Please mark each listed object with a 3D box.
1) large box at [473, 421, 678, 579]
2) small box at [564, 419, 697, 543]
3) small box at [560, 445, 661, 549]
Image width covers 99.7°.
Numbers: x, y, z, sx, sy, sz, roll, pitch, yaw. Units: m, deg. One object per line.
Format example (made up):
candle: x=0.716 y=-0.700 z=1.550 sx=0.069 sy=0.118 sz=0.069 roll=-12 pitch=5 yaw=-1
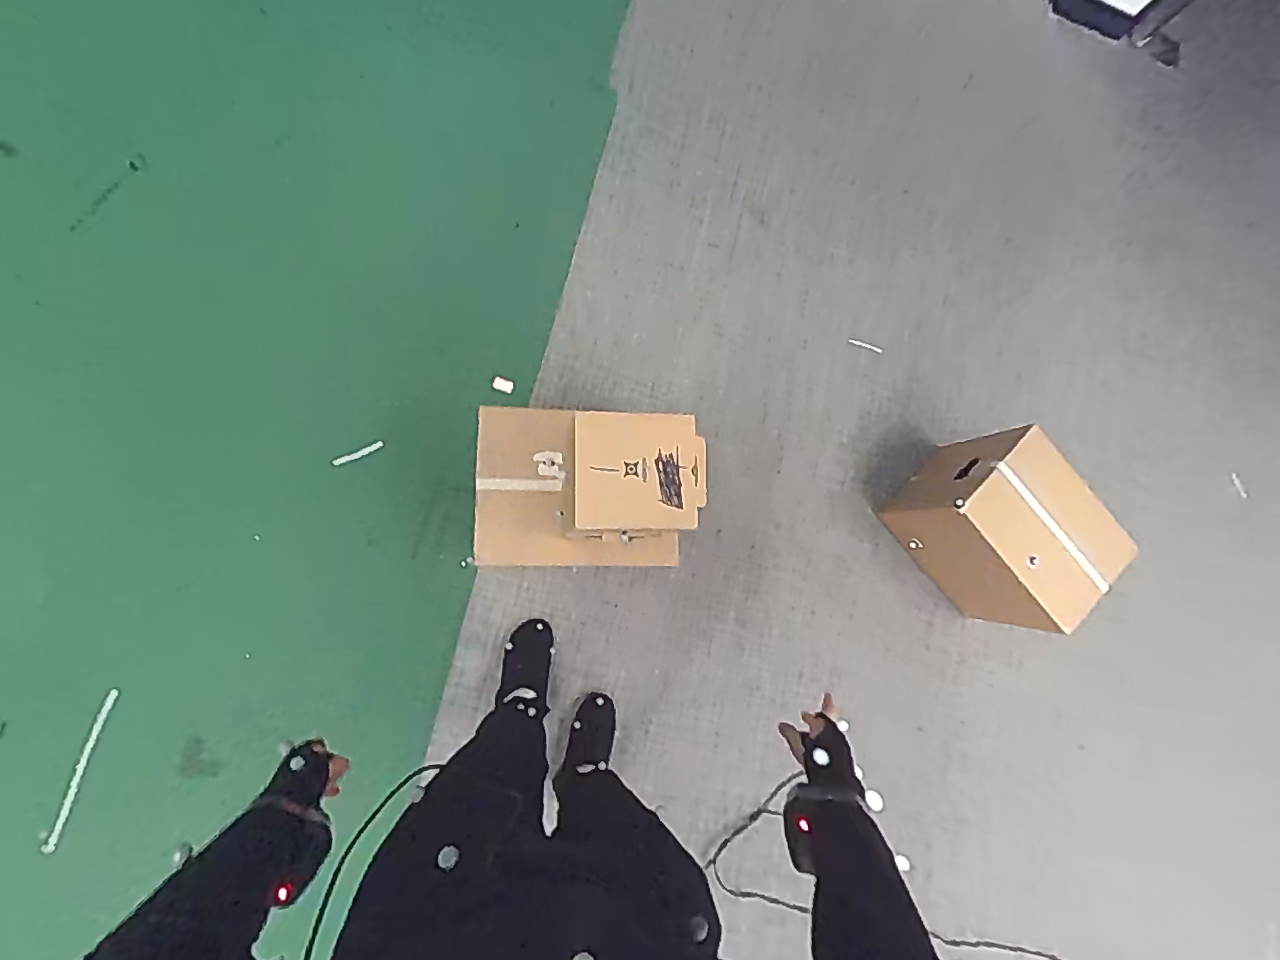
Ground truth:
large box: x=-0.145 y=0.058 z=1.218 sx=0.408 sy=0.320 sz=0.320 roll=2 pitch=80 yaw=-10
small box: x=-0.022 y=0.009 z=0.828 sx=0.179 sy=0.176 sz=0.168 roll=1 pitch=81 yaw=-11
small box: x=-0.056 y=0.036 z=0.986 sx=0.168 sy=0.176 sz=0.179 roll=3 pitch=81 yaw=-11
